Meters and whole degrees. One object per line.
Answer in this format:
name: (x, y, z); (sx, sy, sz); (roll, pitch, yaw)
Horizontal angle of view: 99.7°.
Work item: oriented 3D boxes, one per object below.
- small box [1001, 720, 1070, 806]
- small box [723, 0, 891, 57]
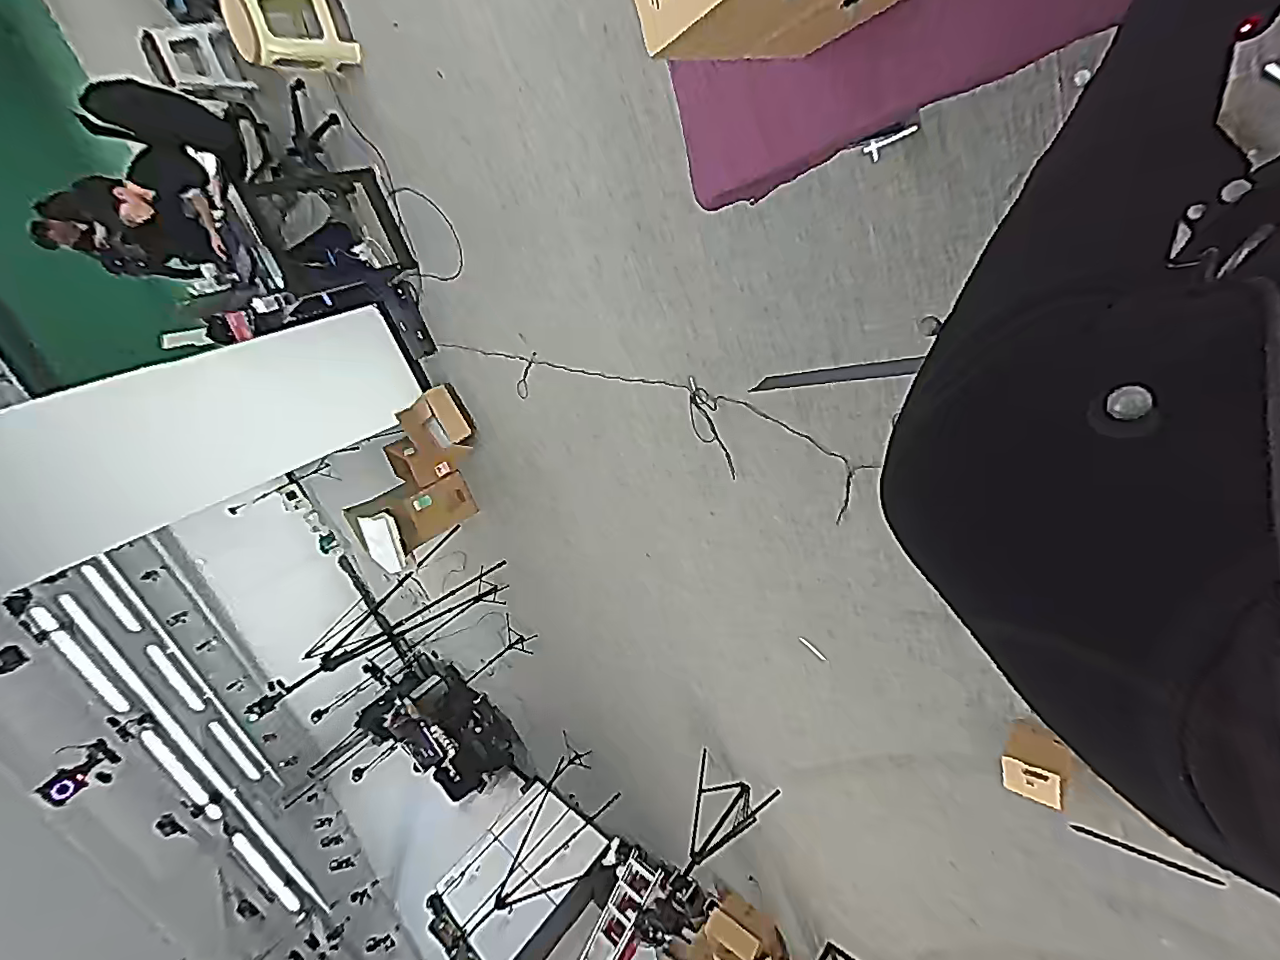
small box: (1.380, 0.978, 1.887); (0.168, 0.176, 0.179); (7, 124, 47)
small box: (0.206, -0.637, 0.635); (0.179, 0.176, 0.168); (5, 121, 47)
